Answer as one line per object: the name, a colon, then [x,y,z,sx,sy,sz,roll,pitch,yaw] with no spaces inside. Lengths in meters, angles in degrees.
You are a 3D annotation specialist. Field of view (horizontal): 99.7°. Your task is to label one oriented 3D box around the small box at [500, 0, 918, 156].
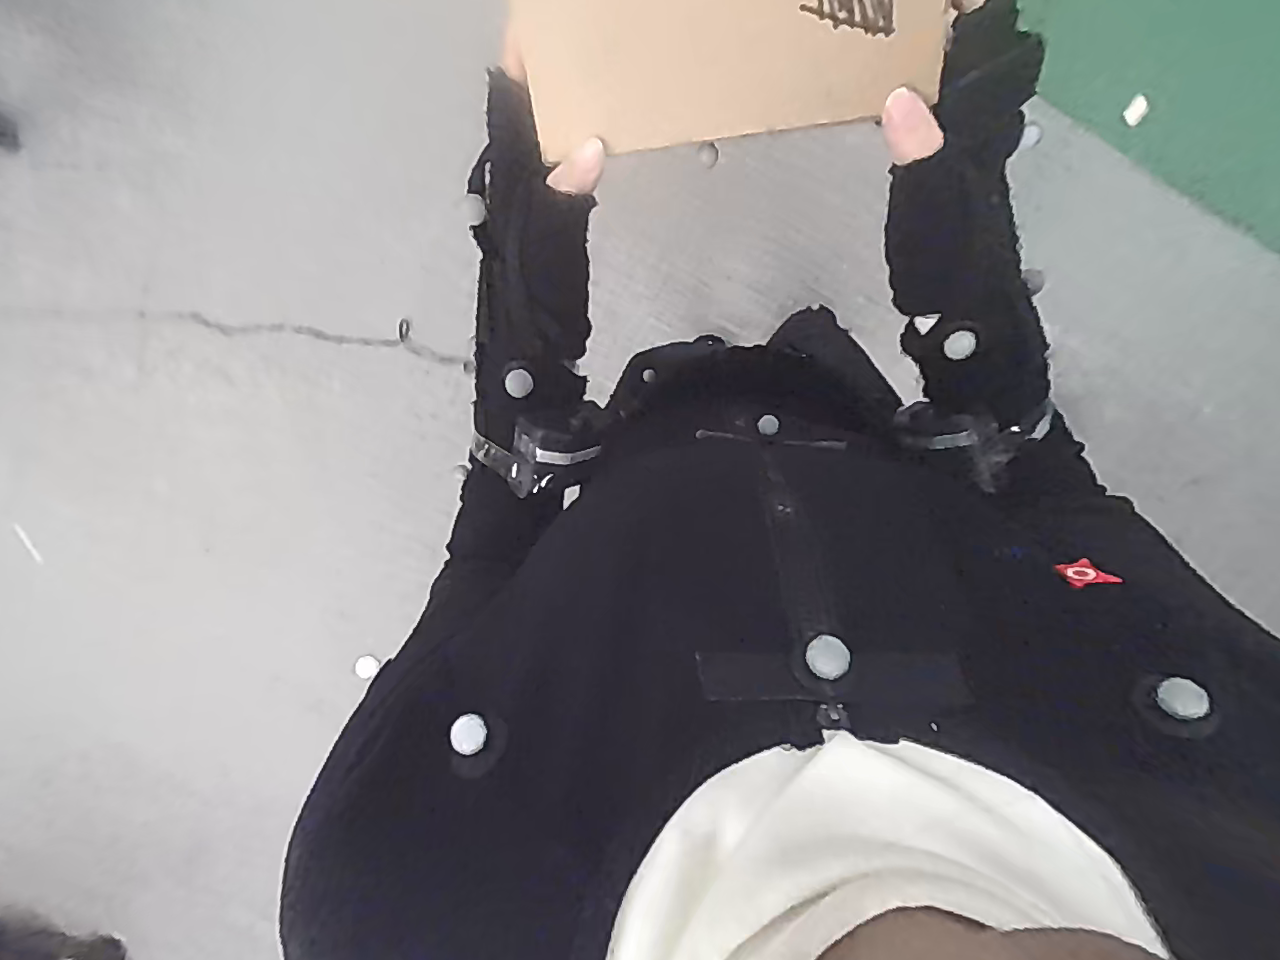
small box: [0.027,-0.276,0.272,0.179,0.176,0.168,-5,124,8]
